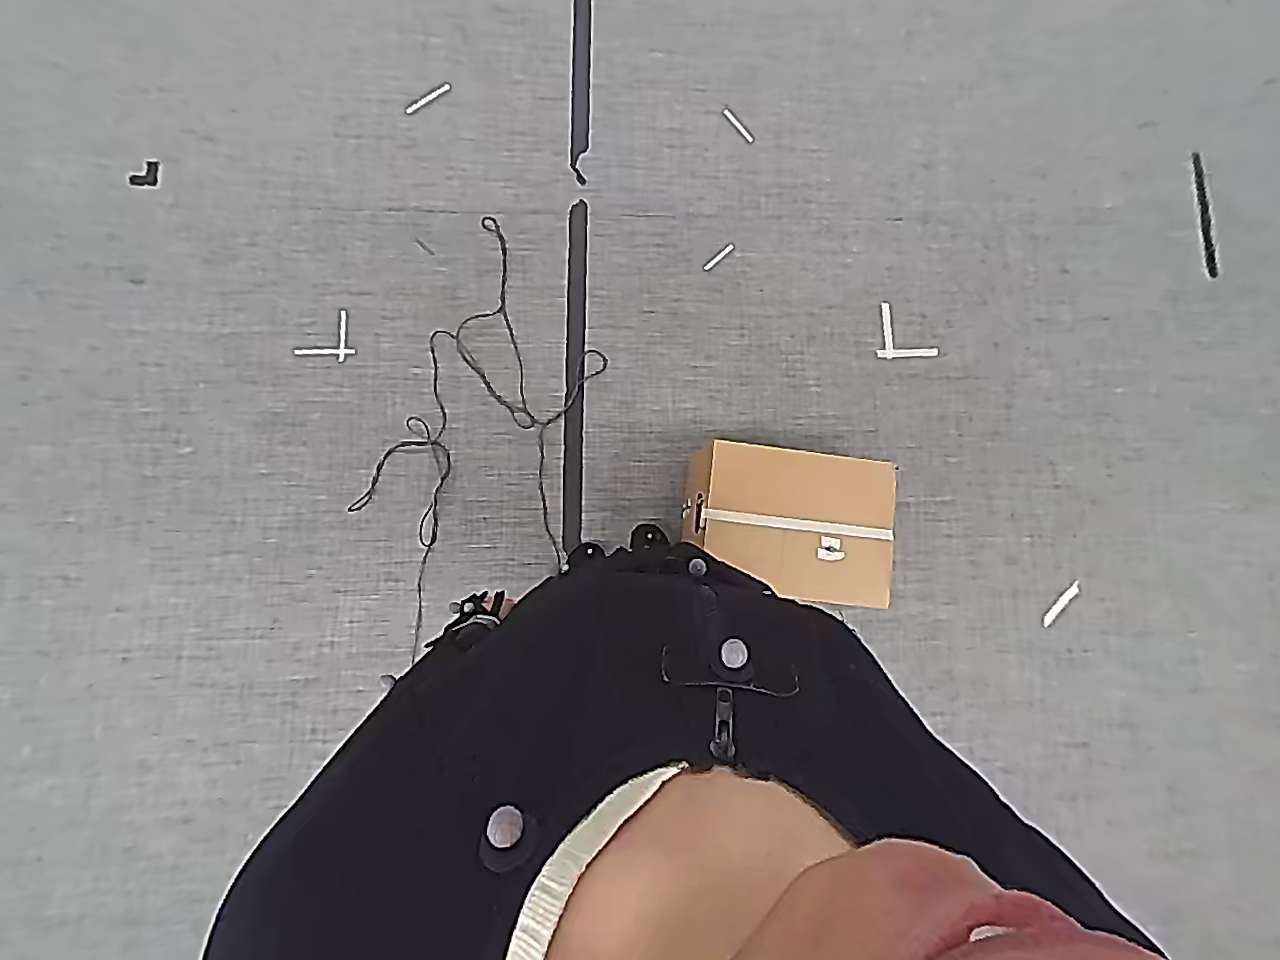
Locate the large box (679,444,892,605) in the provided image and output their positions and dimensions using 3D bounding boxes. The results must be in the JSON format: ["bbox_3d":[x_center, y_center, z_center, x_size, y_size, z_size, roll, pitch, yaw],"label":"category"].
[{"bbox_3d":[0.320,0.110,1.283,0.408,0.320,0.320,7,84,-4],"label":"large box"}]
